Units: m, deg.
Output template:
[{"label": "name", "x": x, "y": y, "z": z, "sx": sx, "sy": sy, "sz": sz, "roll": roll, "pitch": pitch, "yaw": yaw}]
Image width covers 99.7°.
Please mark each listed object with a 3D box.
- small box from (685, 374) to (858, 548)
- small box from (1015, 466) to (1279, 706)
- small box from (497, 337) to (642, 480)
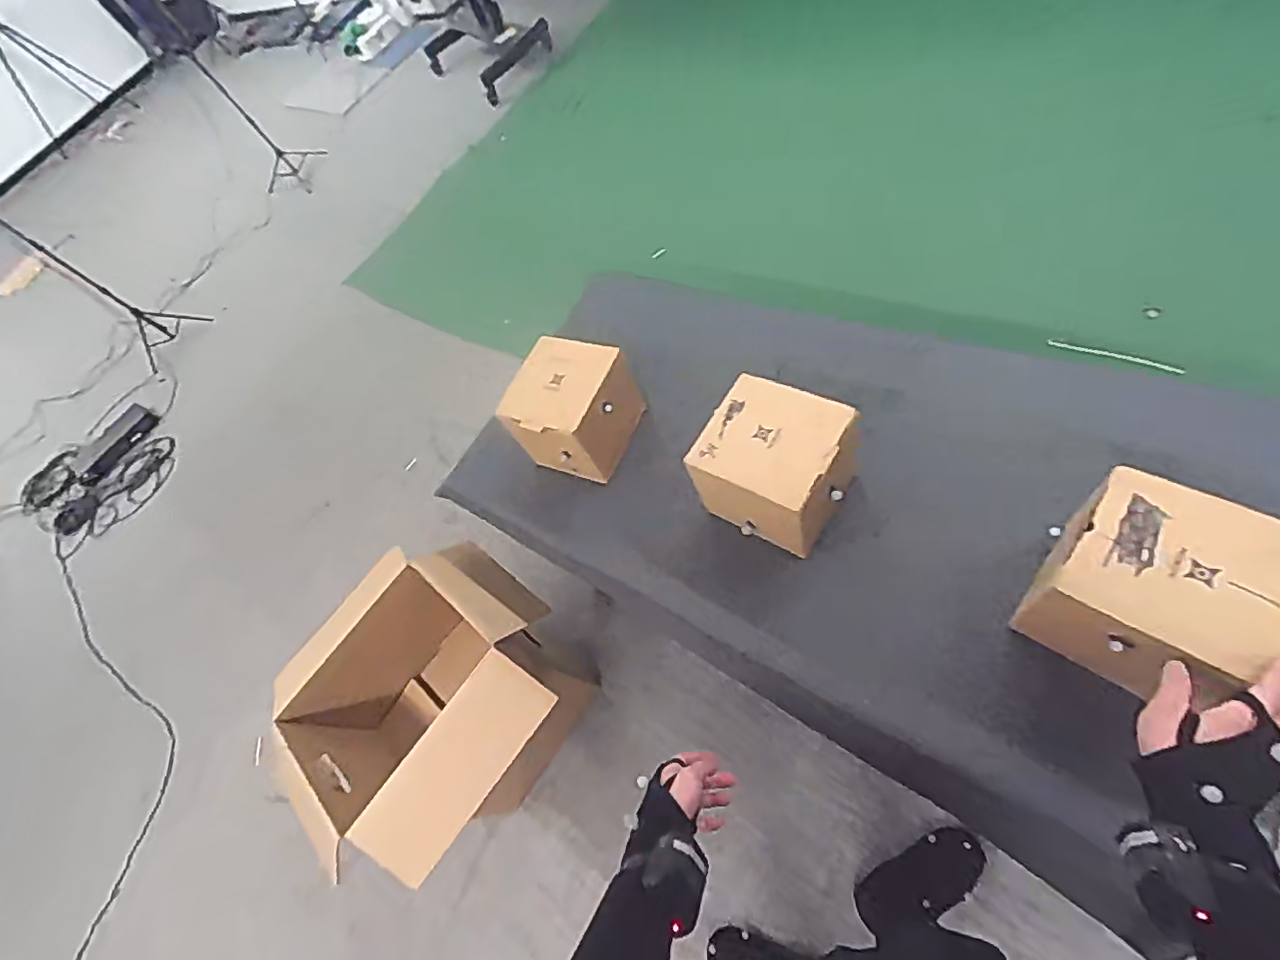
[{"label": "small box", "x": 0.196, "y": -0.020, "z": 0.792, "sx": 0.179, "sy": 0.176, "sz": 0.168, "roll": 27, "pitch": 74, "yaw": 29}, {"label": "small box", "x": 0.547, "y": 0.120, "z": 0.582, "sx": 0.179, "sy": 0.176, "sz": 0.168, "roll": 31, "pitch": 77, "yaw": 31}, {"label": "small box", "x": -0.114, "y": -0.123, "z": 0.965, "sx": 0.168, "sy": 0.176, "sz": 0.179, "roll": 16, "pitch": 67, "yaw": 25}]
